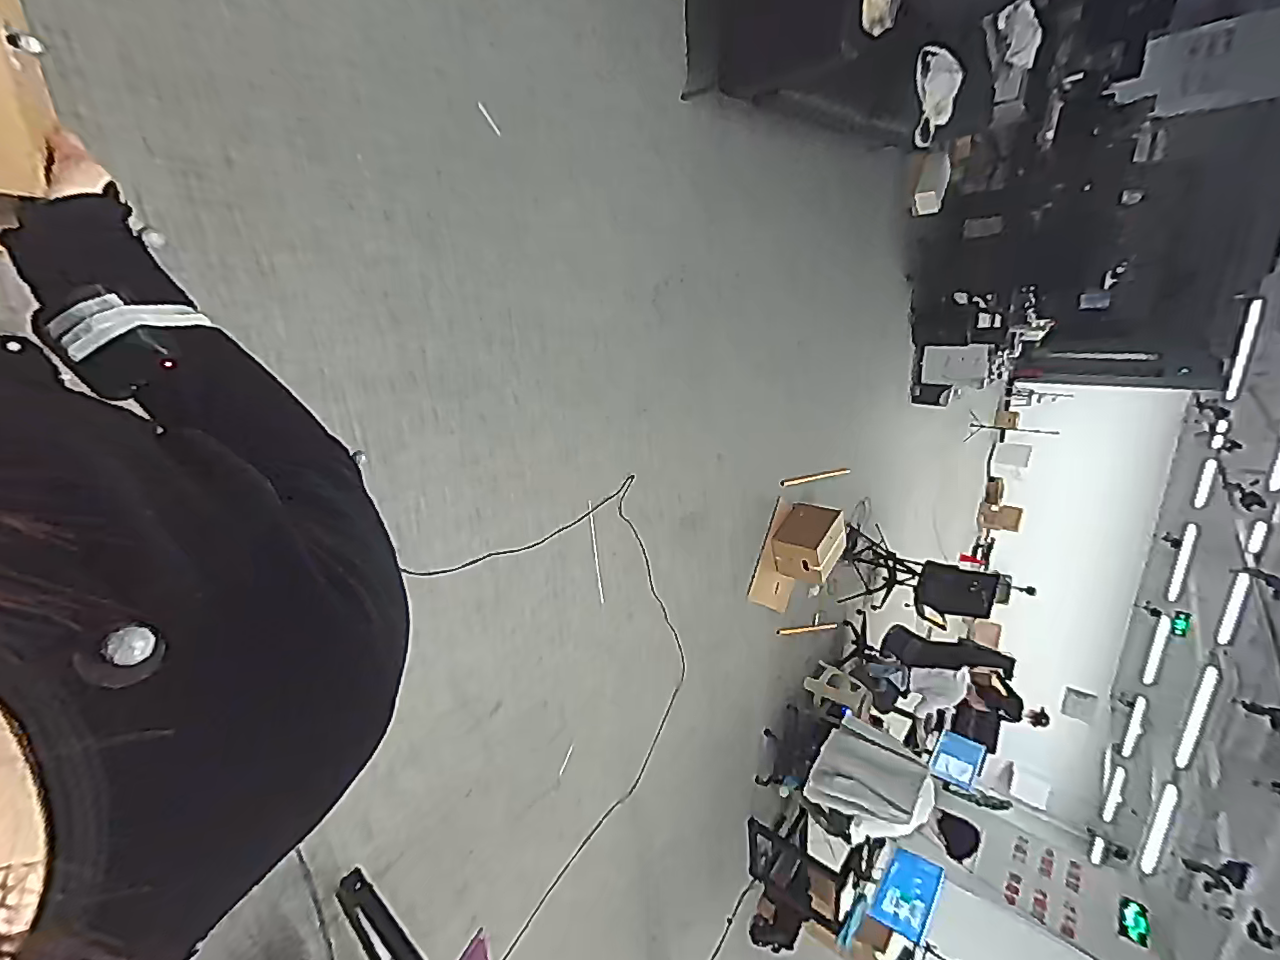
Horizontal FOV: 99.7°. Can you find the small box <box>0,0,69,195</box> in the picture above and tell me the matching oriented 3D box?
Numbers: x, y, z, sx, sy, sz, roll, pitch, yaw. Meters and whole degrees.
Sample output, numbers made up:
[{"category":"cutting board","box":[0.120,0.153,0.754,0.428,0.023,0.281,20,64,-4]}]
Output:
[{"category":"small box","box":[-0.472,-0.288,0.310,0.168,0.176,0.179,-12,130,-36]}]
